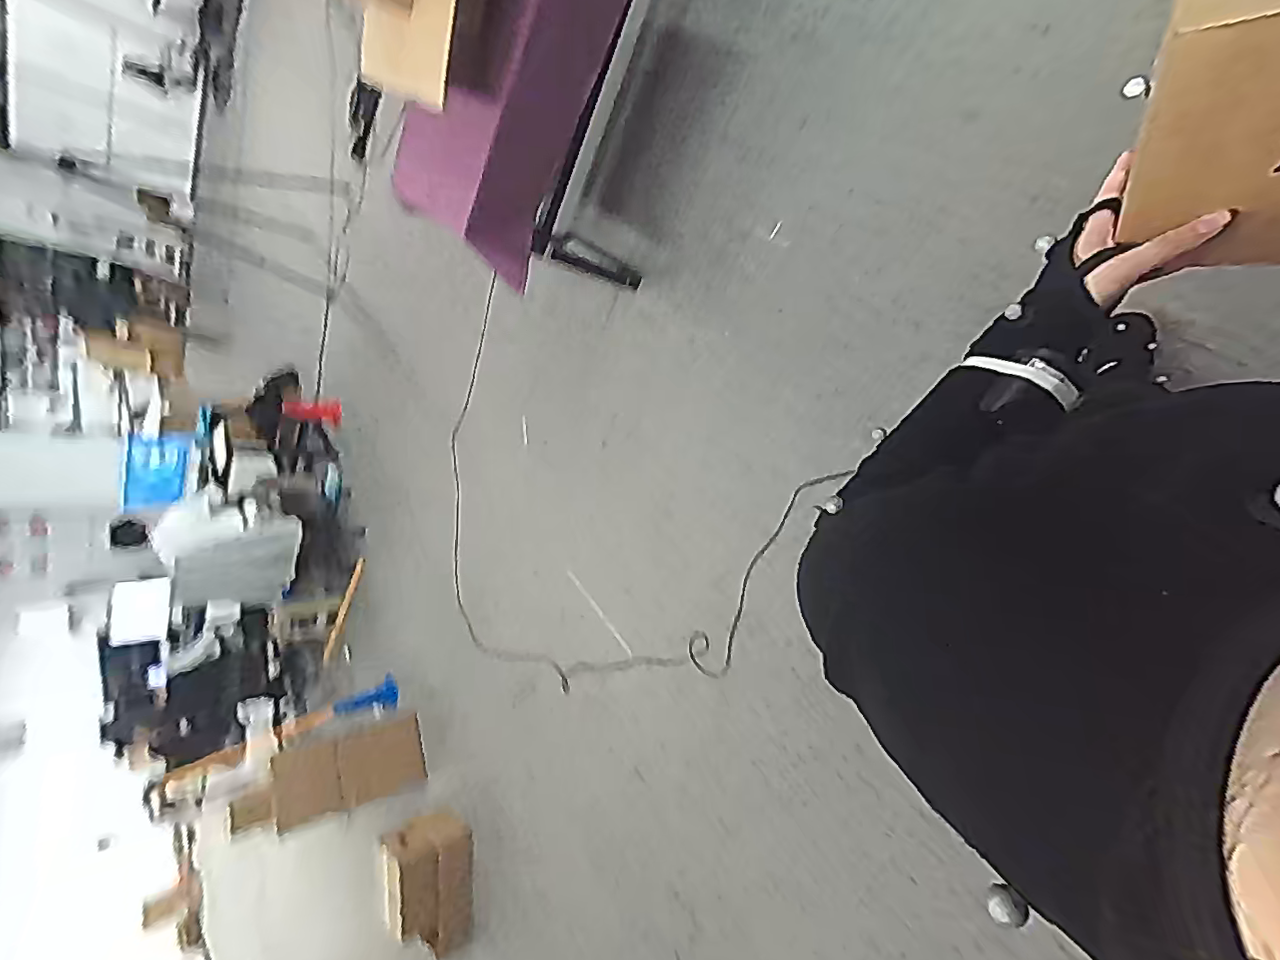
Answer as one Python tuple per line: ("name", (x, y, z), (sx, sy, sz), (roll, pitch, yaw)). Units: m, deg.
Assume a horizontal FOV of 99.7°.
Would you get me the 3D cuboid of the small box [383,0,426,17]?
("small box", (-0.642, -1.325, 1.364), (0.168, 0.176, 0.179), (44, 124, 33))
